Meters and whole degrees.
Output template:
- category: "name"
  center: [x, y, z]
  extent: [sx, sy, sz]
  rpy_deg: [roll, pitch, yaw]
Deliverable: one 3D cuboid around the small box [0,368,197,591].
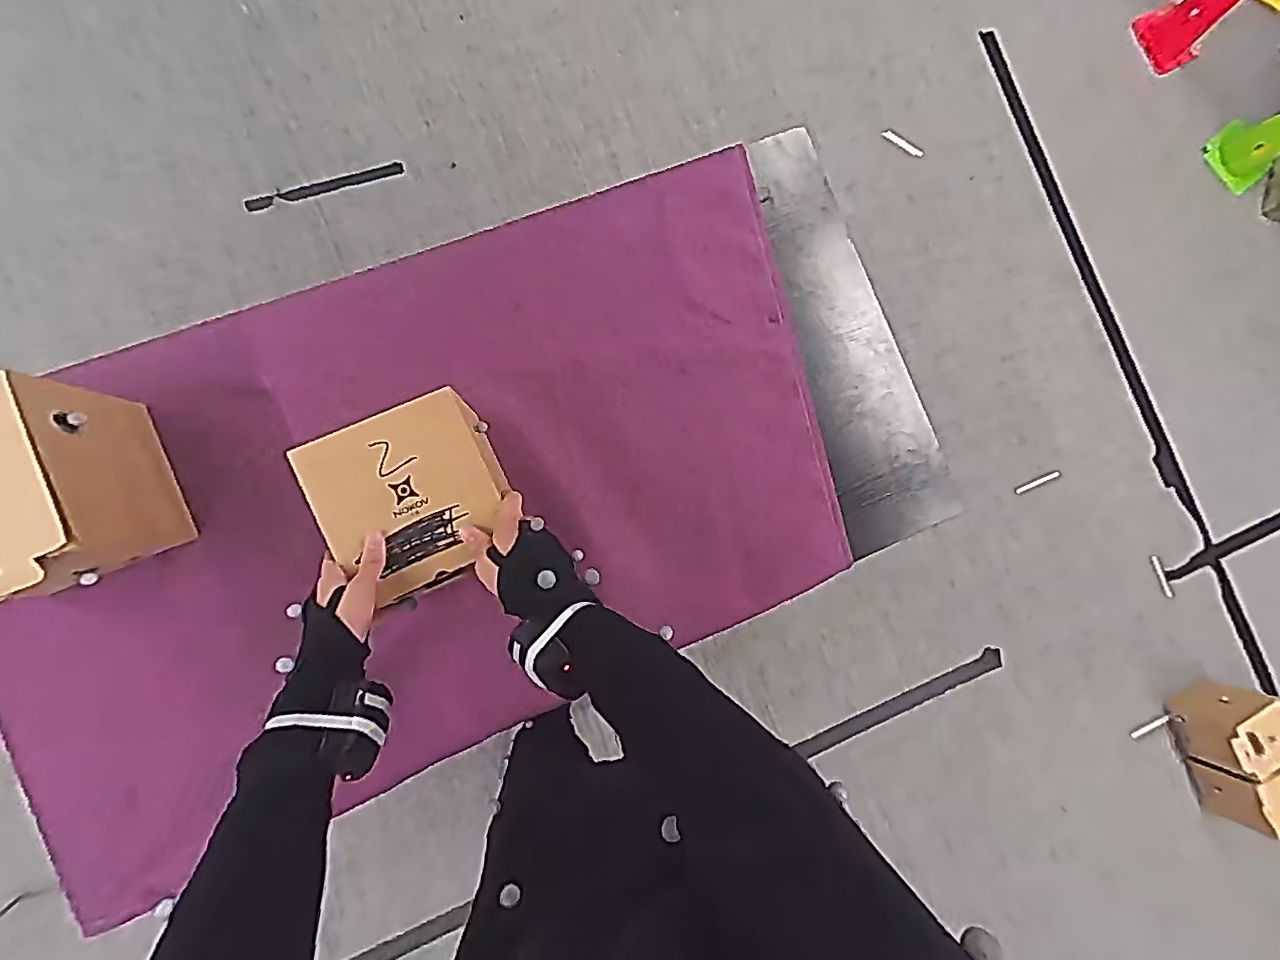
- category: "small box"
  center: [-0.620, 0.010, 0.557]
  extent: [0.168, 0.176, 0.179]
  rpy_deg: [-22, 90, -8]
